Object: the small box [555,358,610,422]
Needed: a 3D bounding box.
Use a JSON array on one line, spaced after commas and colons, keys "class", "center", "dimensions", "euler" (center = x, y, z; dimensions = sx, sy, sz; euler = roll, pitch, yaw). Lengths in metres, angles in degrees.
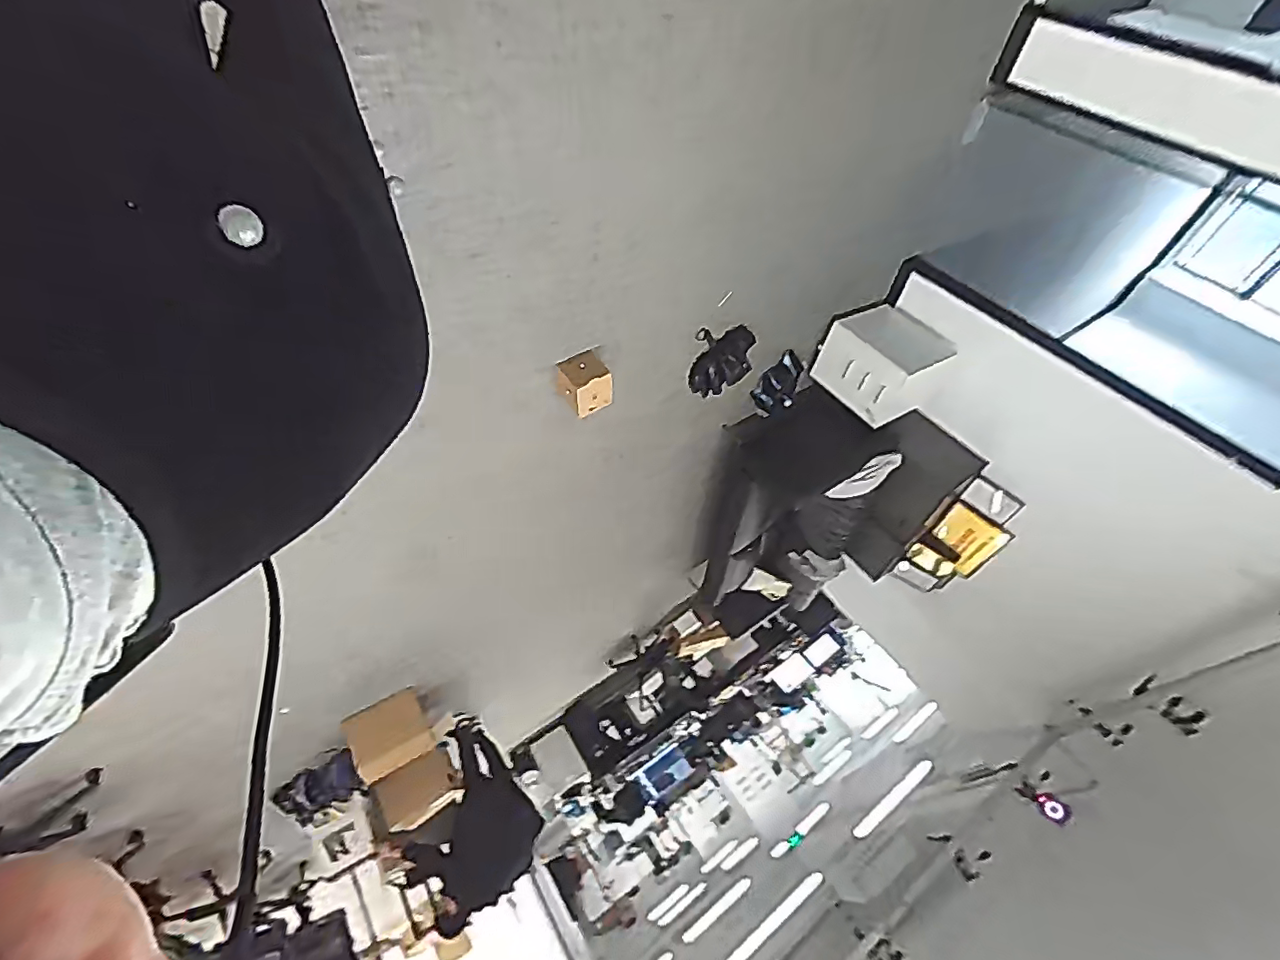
[{"class": "small box", "center": [-0.236, -0.377, 2.219], "dimensions": [0.168, 0.176, 0.179], "euler": [-29, 149, -21]}]
